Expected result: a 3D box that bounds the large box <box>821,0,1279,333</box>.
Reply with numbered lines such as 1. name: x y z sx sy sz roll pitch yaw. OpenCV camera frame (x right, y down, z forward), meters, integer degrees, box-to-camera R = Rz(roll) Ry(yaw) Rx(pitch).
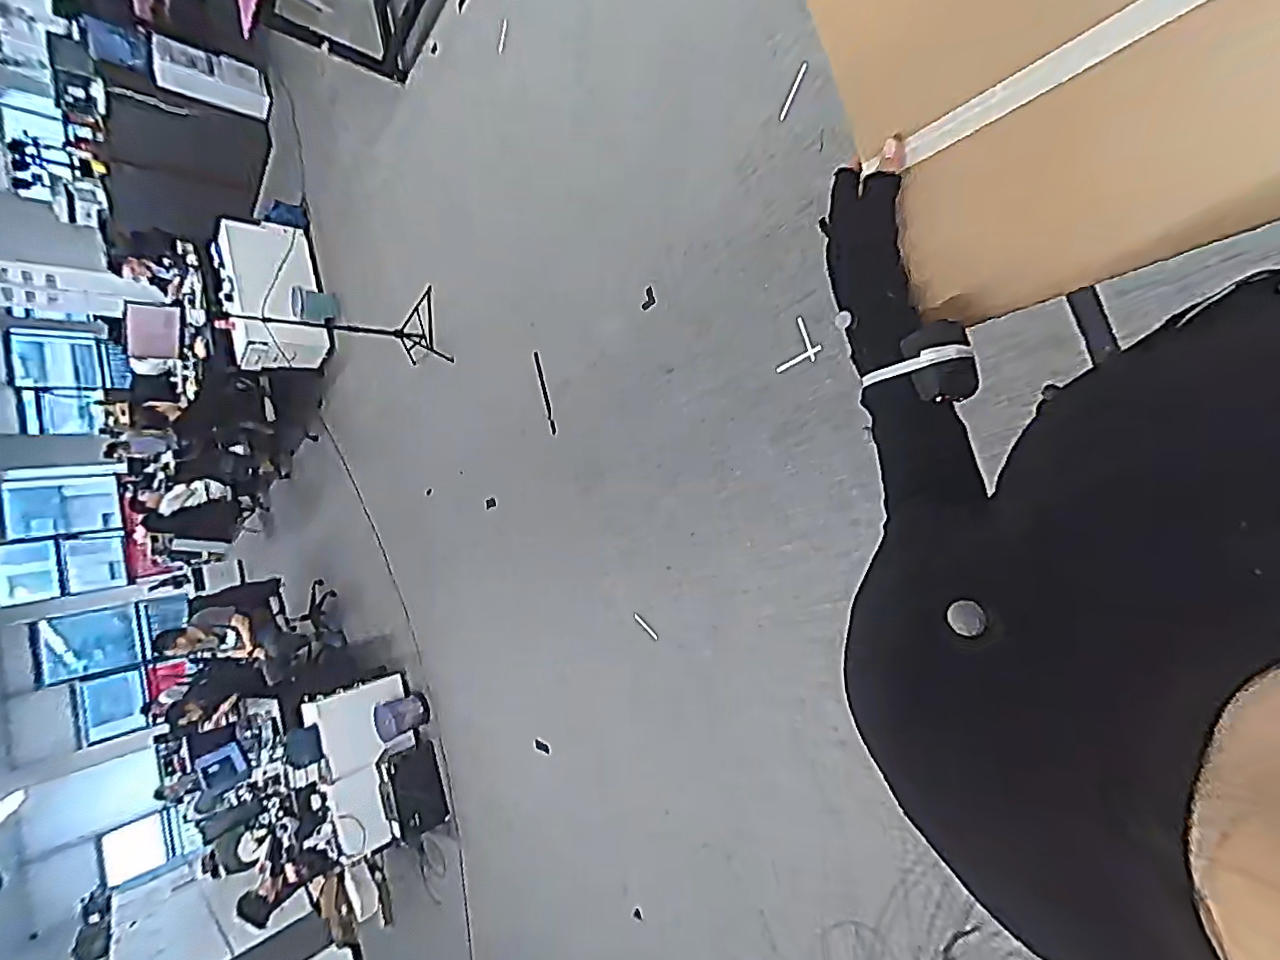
1. large box: 0.437 -0.373 0.462 0.408 0.320 0.320 -16 105 42
